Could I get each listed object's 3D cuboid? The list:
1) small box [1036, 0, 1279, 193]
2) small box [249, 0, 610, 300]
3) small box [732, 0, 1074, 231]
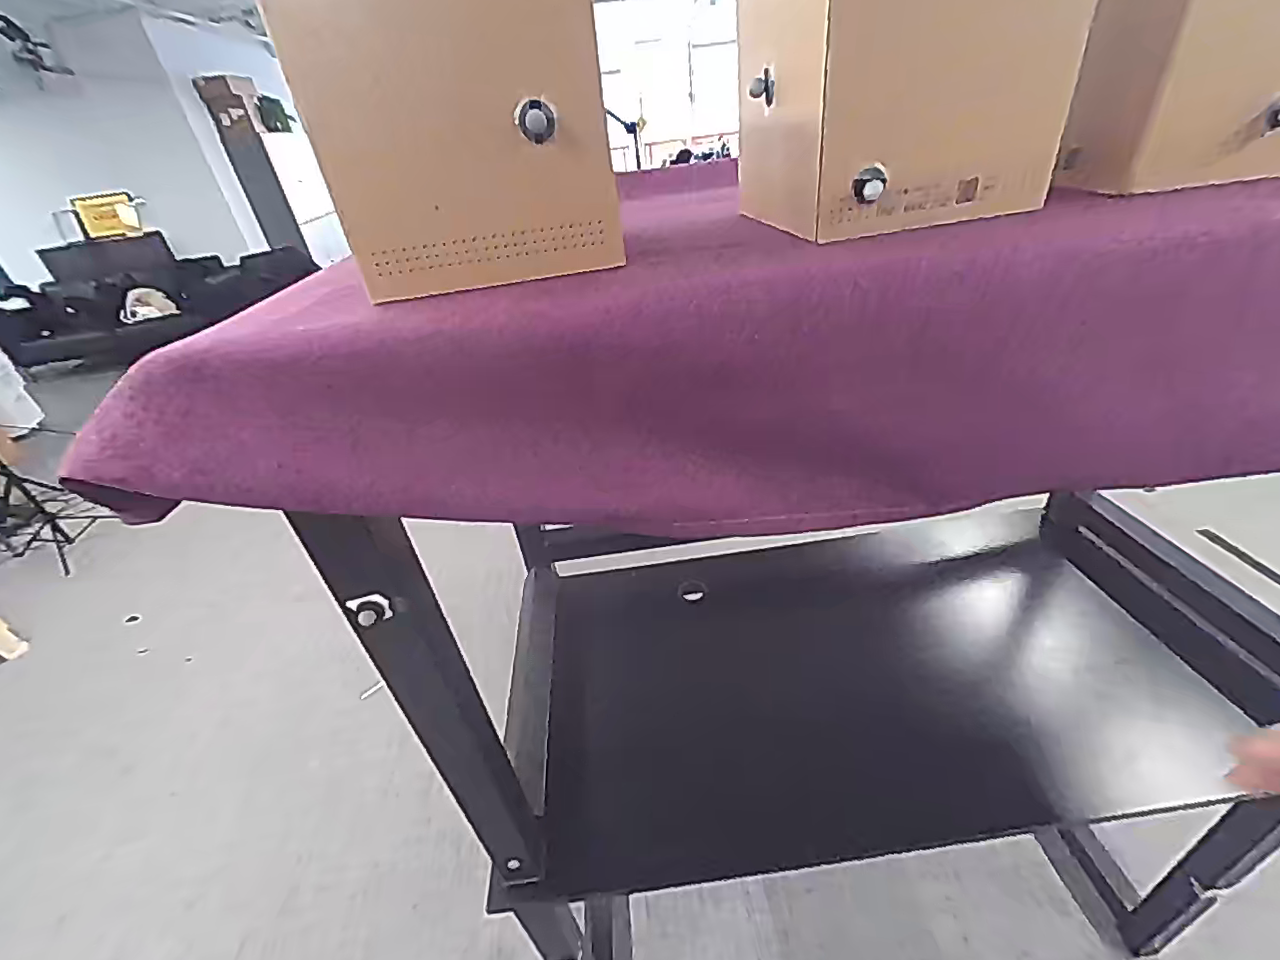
[{"bbox_3d":[0.403,-0.318,0.390,0.179,0.176,0.168,-6,32,2],"label":"small box"},{"bbox_3d":[-0.120,-0.241,0.384,0.179,0.176,0.168,-11,33,-5],"label":"small box"},{"bbox_3d":[0.172,-0.286,0.390,0.168,0.176,0.179,-10,32,-4],"label":"small box"}]
